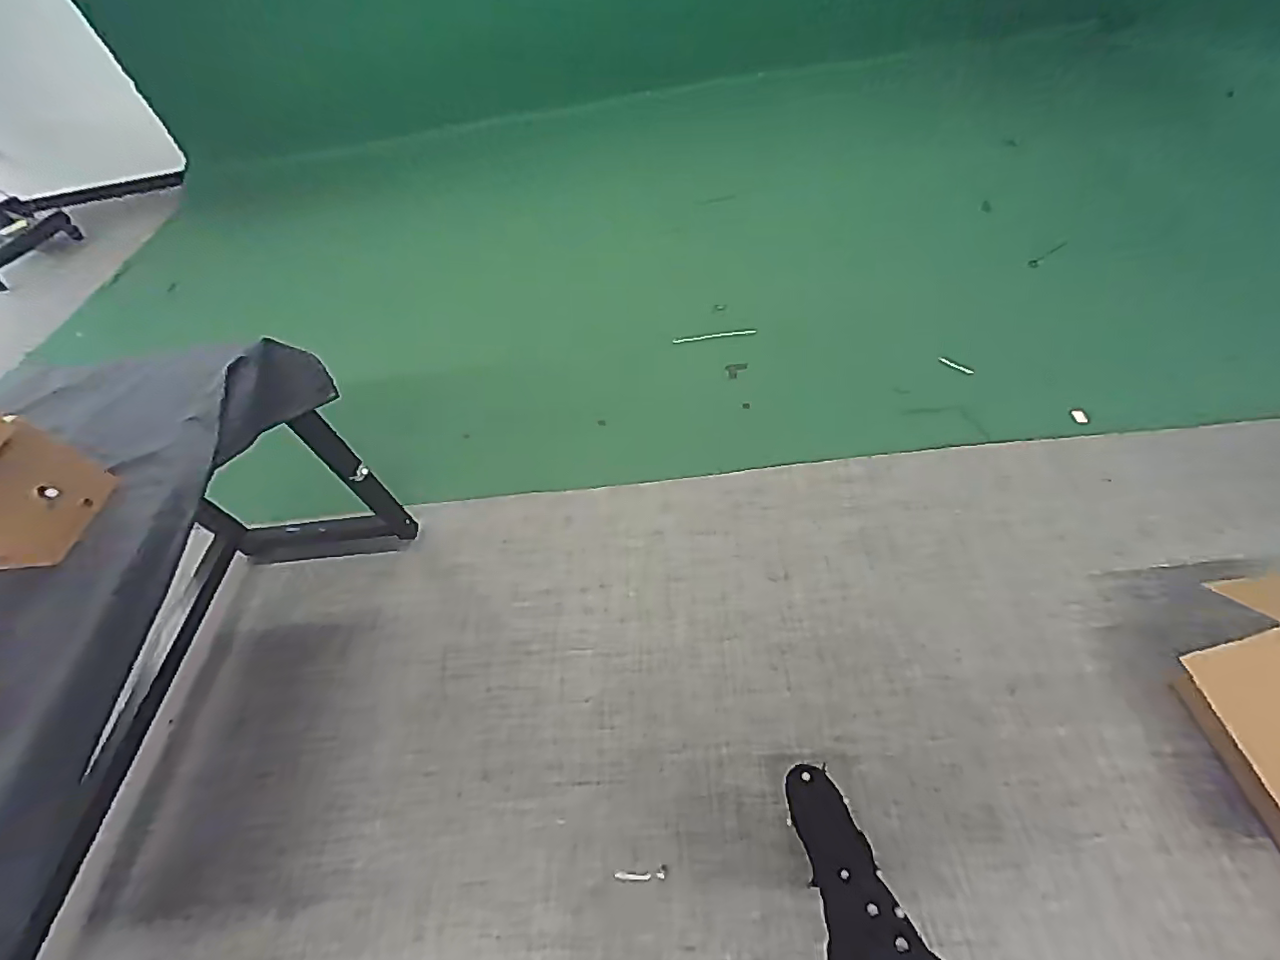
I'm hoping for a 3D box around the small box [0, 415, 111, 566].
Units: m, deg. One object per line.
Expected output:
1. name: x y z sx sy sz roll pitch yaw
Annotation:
1. small box: -0.995 0.023 0.830 0.179 0.176 0.168 -5 53 5
